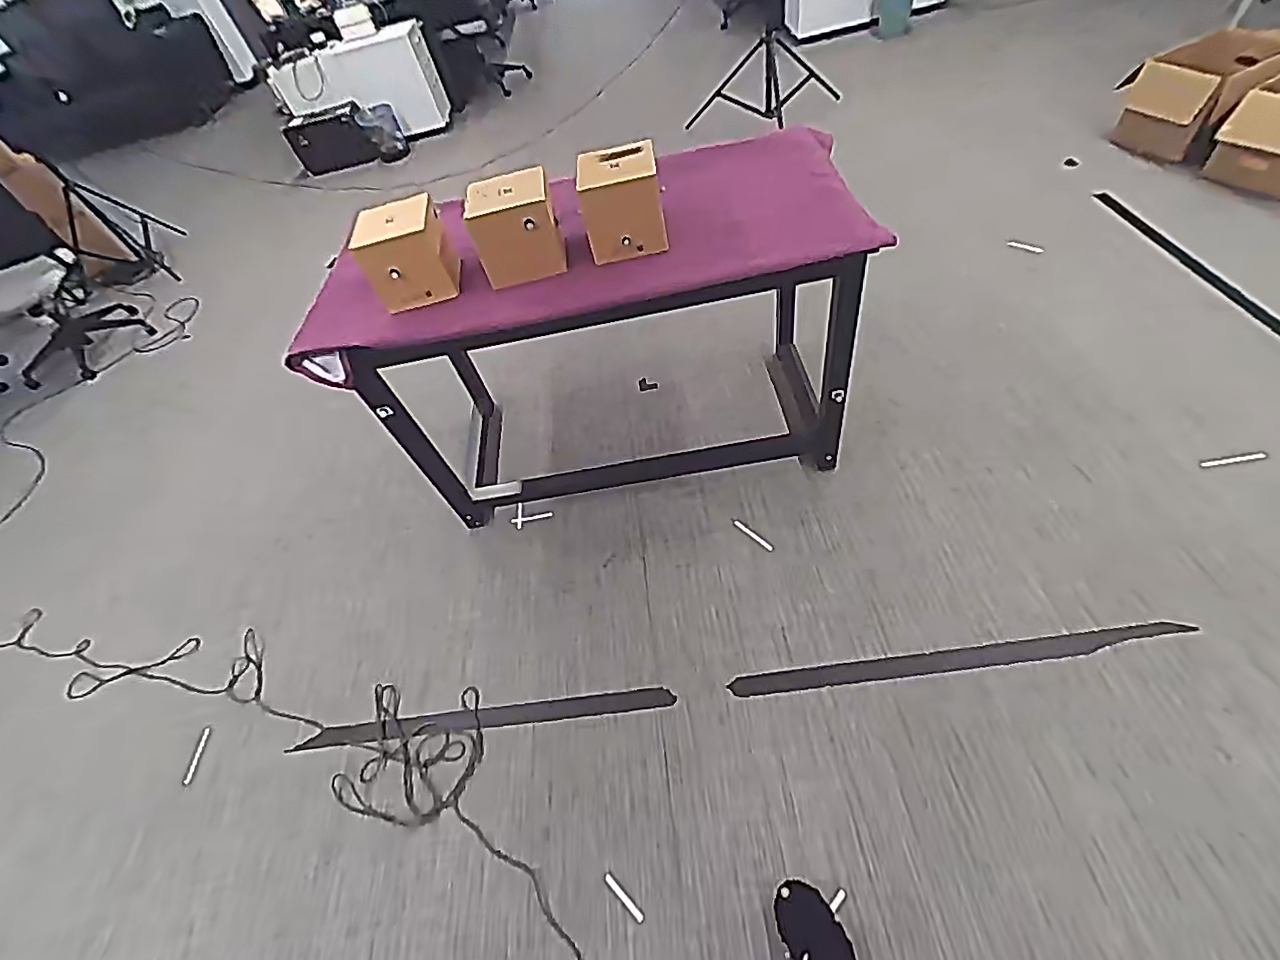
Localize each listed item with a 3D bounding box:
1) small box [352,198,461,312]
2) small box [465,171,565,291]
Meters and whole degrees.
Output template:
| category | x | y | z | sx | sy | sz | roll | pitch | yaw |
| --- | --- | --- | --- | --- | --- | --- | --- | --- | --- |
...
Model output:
| category | x | y | z | sx | sy | sz | roll | pitch | yaw |
| --- | --- | --- | --- | --- | --- | --- | --- | --- | --- |
| small box | -0.522 | -0.505 | 1.234 | 0.168 | 0.176 | 0.179 | -15 | 51 | 1 |
| small box | -0.272 | -0.553 | 1.209 | 0.179 | 0.176 | 0.168 | -13 | 50 | 3 |
